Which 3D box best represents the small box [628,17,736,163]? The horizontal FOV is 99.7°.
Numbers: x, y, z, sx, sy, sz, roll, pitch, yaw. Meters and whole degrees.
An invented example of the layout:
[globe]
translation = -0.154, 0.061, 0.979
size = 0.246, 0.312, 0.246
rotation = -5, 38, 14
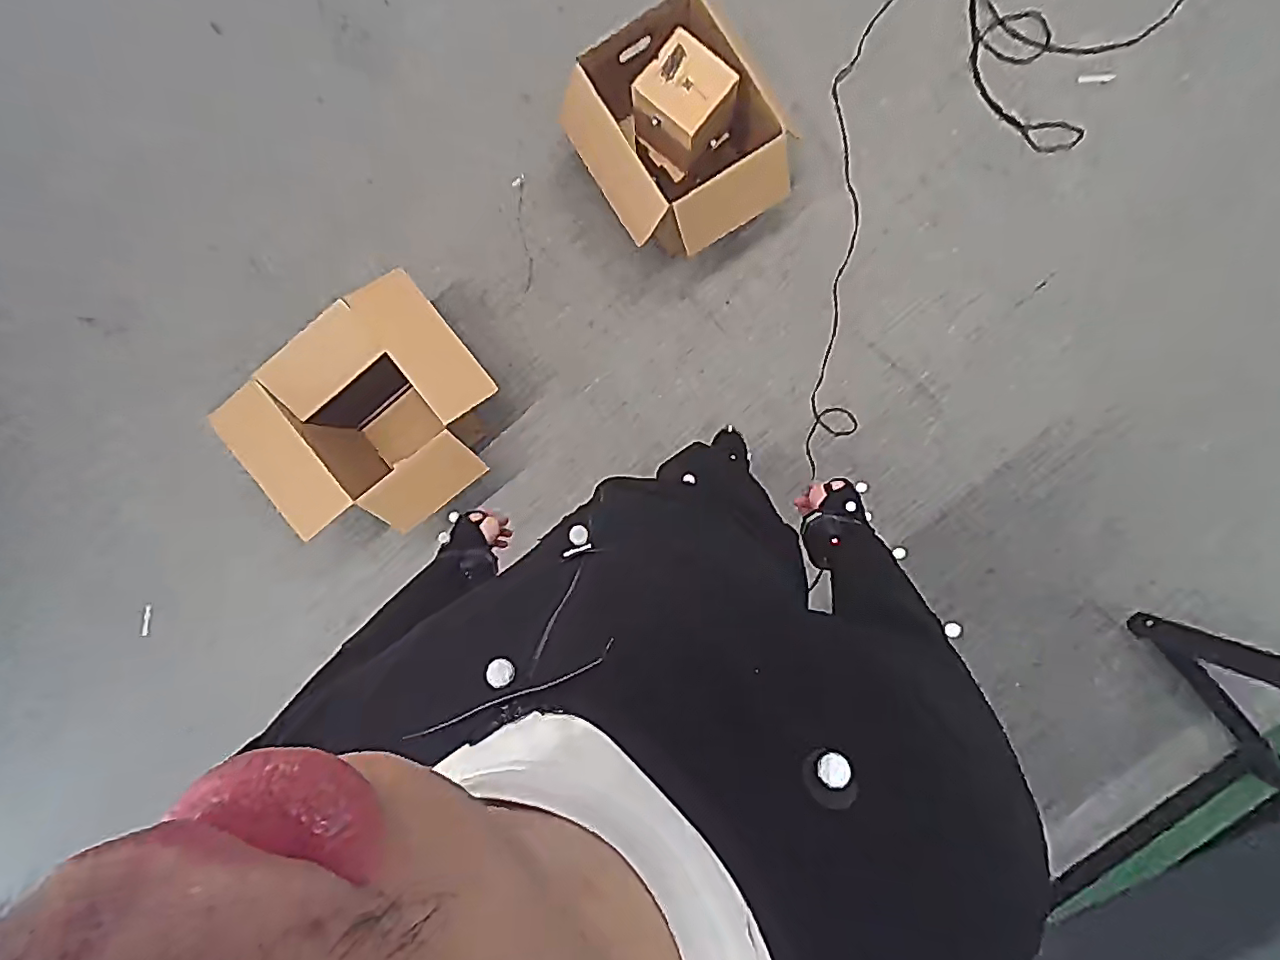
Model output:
[small box]
translation = 0.095, -0.880, 1.240
size = 0.179, 0.176, 0.168
rotation = 44, 95, 1
